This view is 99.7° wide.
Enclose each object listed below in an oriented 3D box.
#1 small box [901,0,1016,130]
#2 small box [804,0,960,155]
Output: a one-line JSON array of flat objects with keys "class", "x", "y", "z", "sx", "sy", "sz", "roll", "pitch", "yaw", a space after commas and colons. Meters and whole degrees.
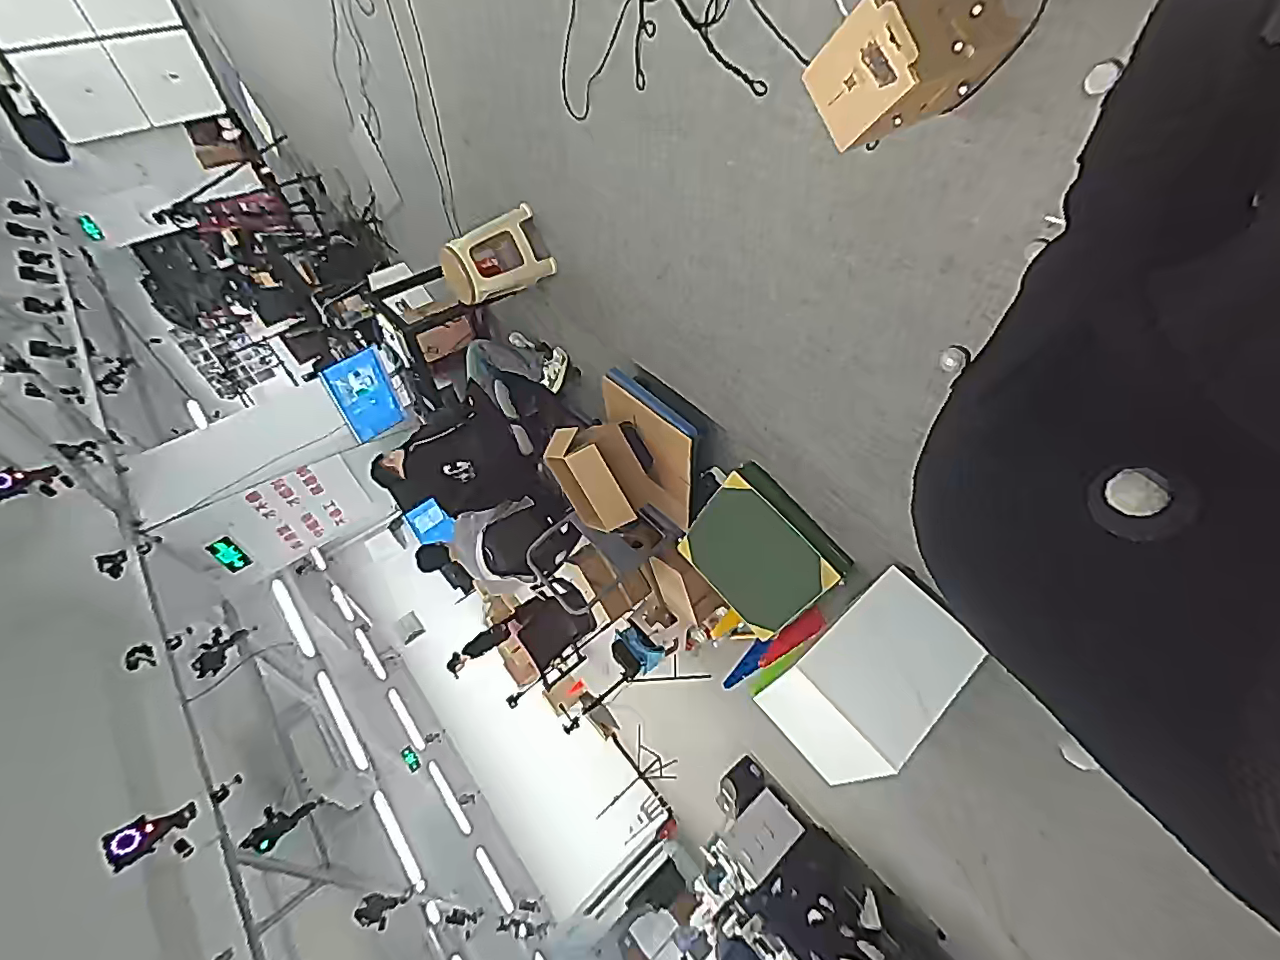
[{"class": "small box", "x": 0.573, "y": -0.831, "z": 1.043, "sx": 0.179, "sy": 0.176, "sz": 0.168, "roll": 57, "pitch": 156, "yaw": -1}, {"class": "small box", "x": 0.445, "y": -0.743, "z": 0.986, "sx": 0.168, "sy": 0.176, "sz": 0.179, "roll": 60, "pitch": 156, "yaw": -5}]
